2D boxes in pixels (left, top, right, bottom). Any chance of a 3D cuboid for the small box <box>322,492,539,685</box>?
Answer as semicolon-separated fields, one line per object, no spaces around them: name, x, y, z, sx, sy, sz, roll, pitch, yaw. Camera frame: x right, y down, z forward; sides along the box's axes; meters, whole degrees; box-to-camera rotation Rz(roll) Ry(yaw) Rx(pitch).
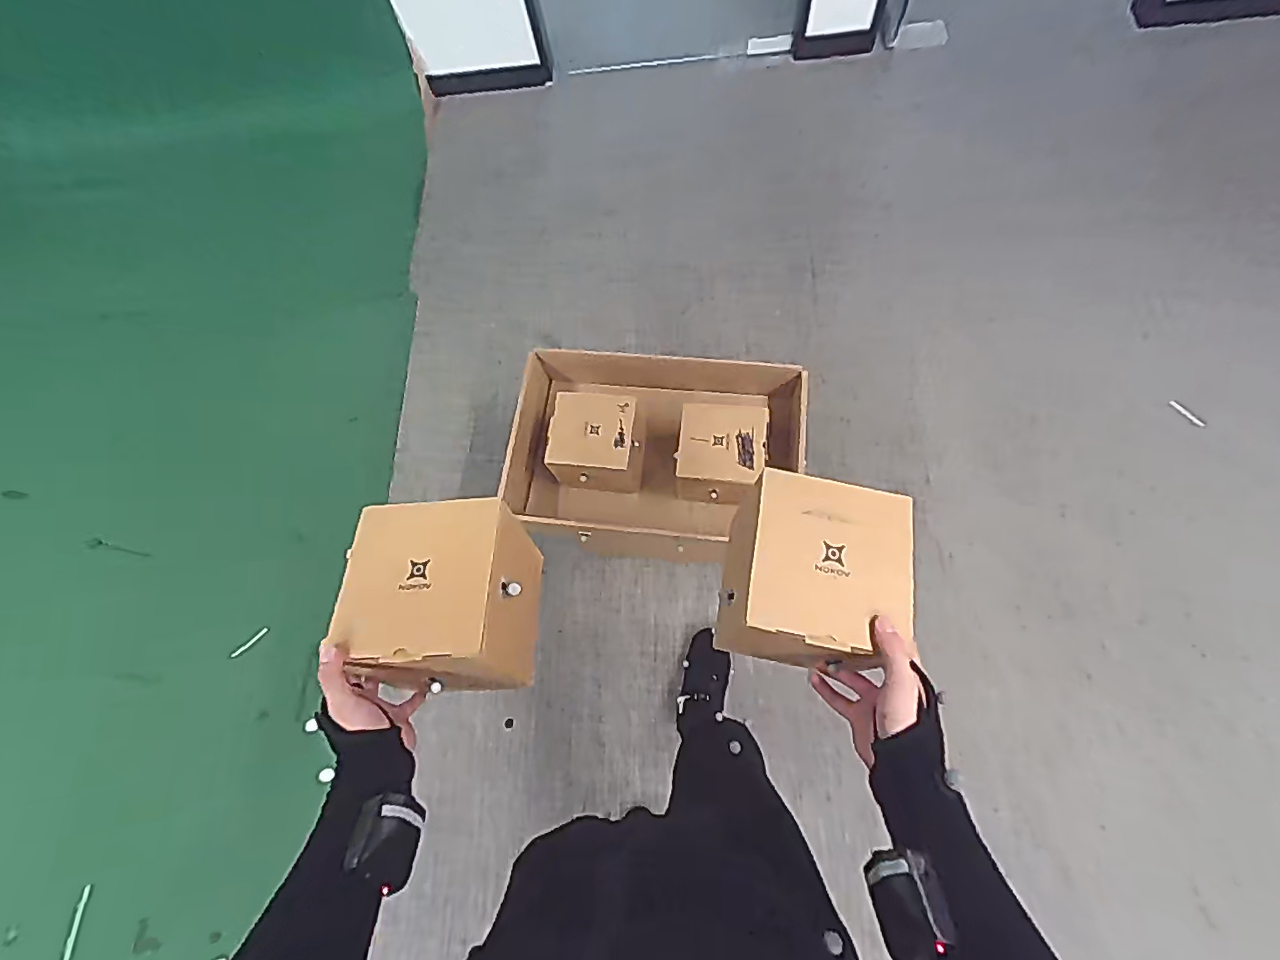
small box;-0.221;0.131;0.629;0.168;0.176;0.179;-3;60;5

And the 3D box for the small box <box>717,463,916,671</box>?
small box;0.190;0.108;0.615;0.168;0.176;0.179;13;65;2

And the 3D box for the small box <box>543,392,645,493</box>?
small box;-0.092;-0.076;1.180;0.179;0.176;0.168;6;72;8
